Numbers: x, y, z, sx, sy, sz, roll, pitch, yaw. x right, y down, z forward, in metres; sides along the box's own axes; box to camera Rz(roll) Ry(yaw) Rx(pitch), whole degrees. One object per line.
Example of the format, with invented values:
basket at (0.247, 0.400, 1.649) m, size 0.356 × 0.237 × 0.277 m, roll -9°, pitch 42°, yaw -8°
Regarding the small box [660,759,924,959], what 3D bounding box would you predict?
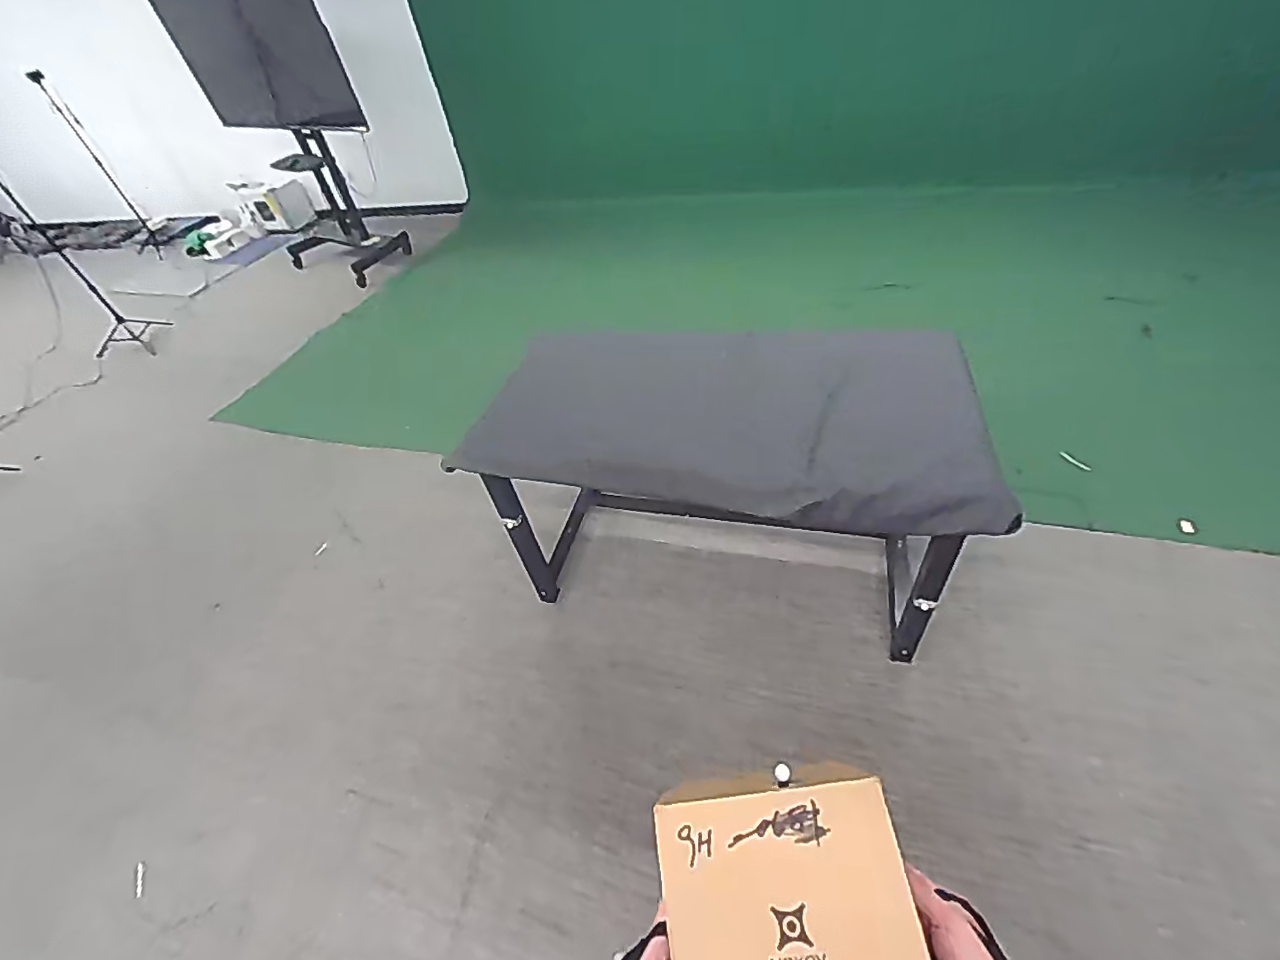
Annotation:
small box at (0.117, 0.341, 0.440) m, size 0.168 × 0.176 × 0.179 m, roll -10°, pitch 66°, yaw 5°
